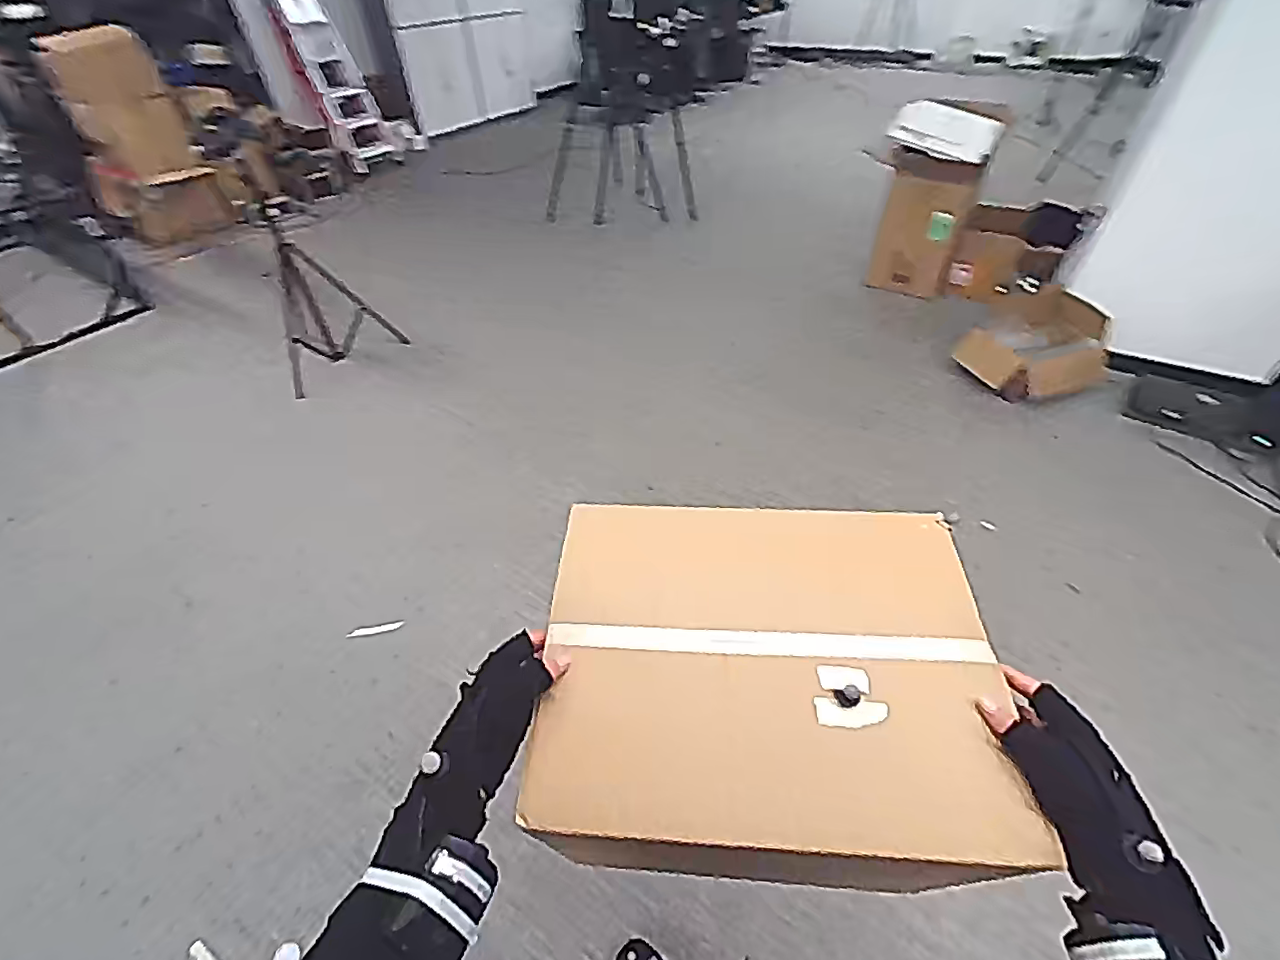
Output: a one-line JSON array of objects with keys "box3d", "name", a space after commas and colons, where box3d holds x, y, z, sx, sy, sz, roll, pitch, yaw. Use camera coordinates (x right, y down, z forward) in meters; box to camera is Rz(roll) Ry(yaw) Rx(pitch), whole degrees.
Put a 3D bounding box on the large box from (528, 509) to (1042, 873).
[{"box3d": [0.117, 0.246, 0.624, 0.408, 0.320, 0.320, 1, 51, 3], "name": "large box"}]
